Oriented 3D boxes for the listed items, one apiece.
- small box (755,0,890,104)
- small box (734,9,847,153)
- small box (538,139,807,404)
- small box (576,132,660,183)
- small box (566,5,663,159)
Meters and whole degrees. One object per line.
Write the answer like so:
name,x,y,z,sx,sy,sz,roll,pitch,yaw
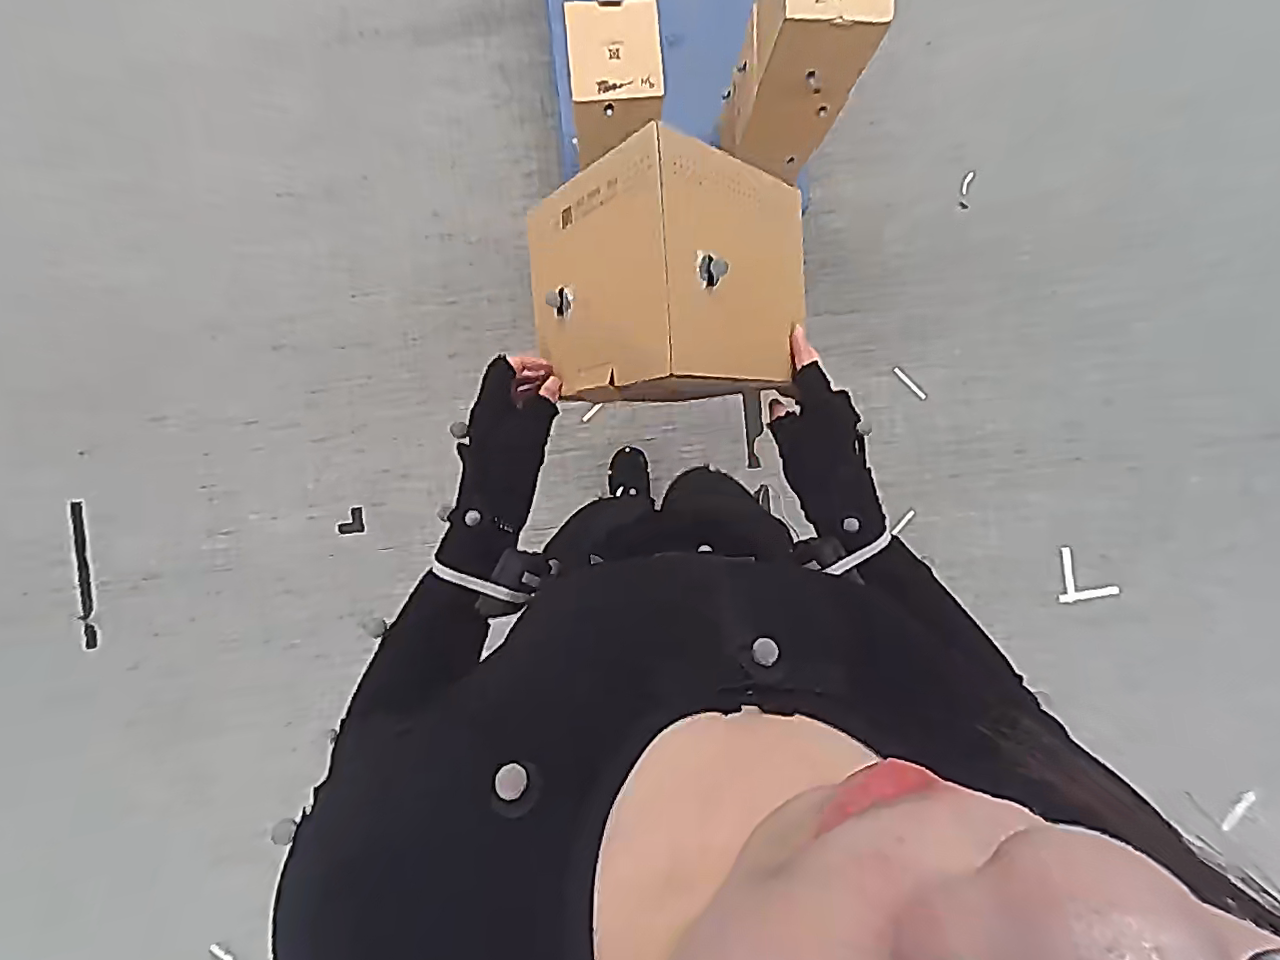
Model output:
small box,0.289,-0.762,0.884,0.168,0.176,0.179,0,91,-2
small box,0.282,-0.763,1.049,0.179,0.176,0.168,-1,92,-3
small box,0.026,-0.161,0.472,0.179,0.168,0.176,-7,96,-42
small box,-0.050,-0.756,1.200,0.179,0.176,0.168,-2,91,-1
small box,-0.049,-0.752,1.036,0.168,0.176,0.179,-5,91,-2
